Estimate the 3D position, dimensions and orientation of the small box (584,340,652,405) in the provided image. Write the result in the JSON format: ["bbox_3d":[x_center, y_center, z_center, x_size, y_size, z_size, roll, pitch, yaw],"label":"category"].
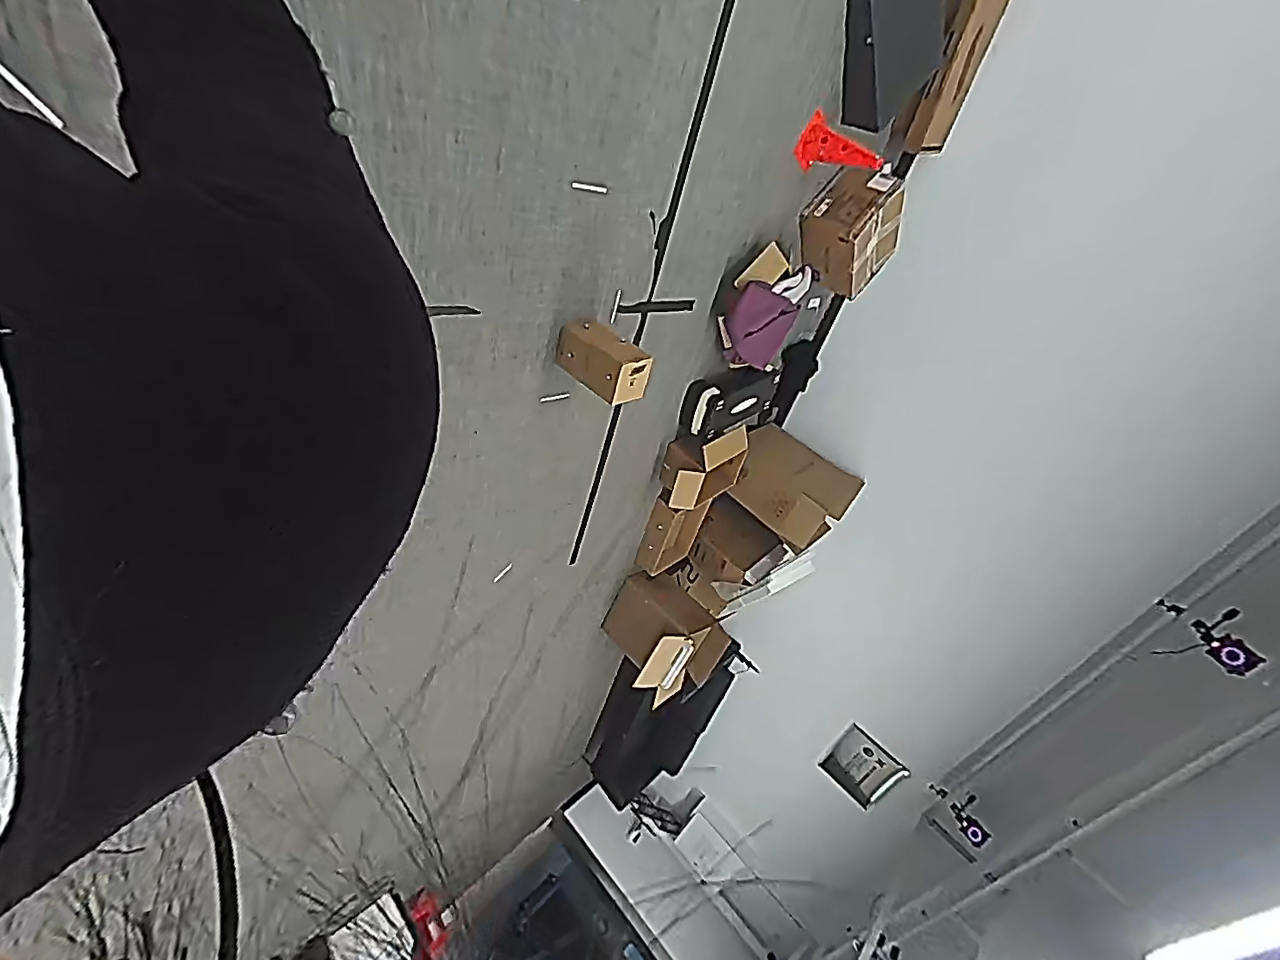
[{"bbox_3d":[-0.087,-0.410,2.016,0.168,0.176,0.179,-24,144,-42],"label":"small box"}]

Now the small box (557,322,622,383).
[{"bbox_3d":[-0.201,-0.500,2.097,0.179,0.176,0.168,-23,142,-41],"label":"small box"}]
